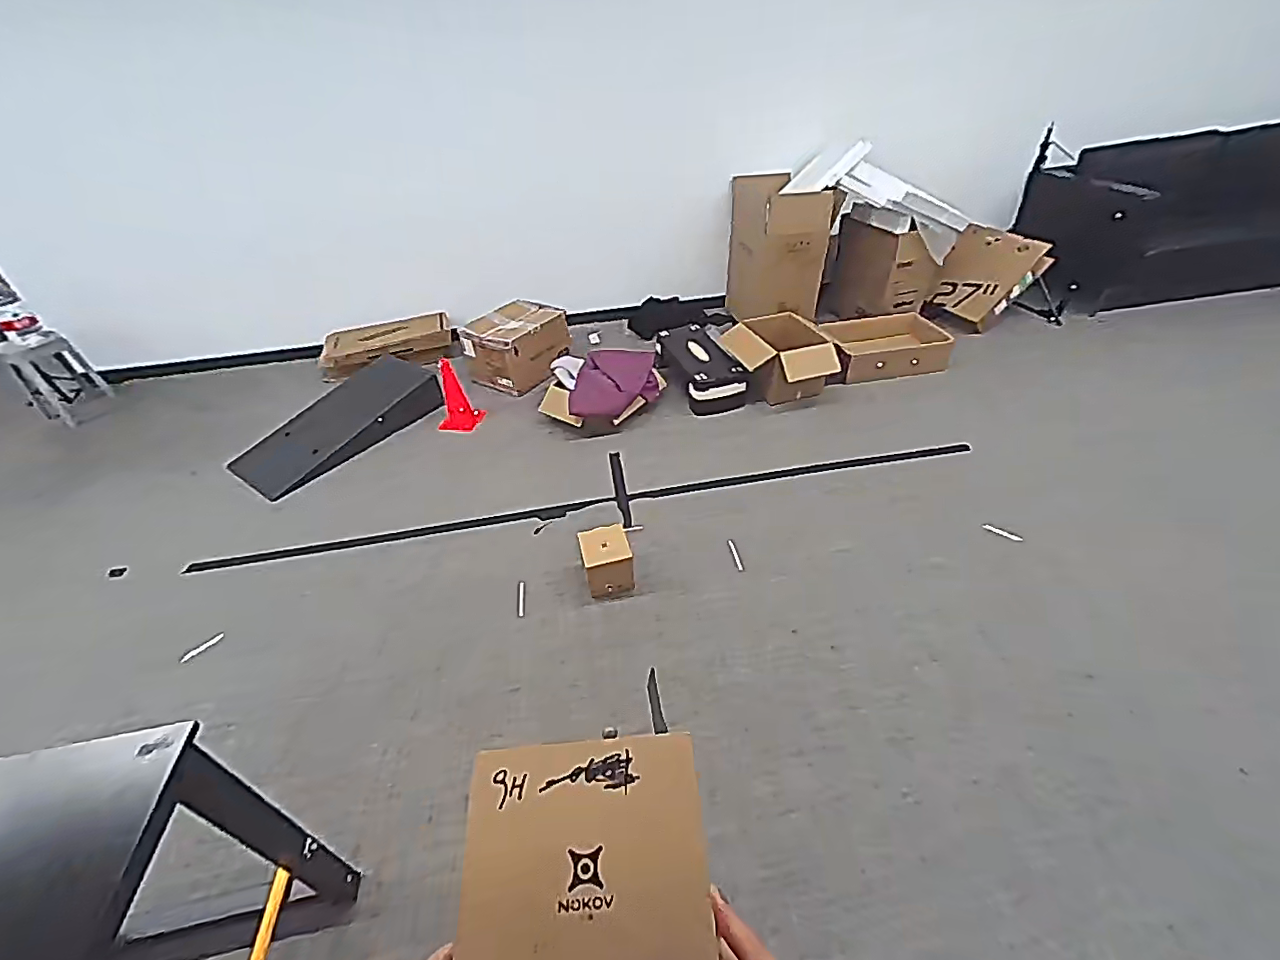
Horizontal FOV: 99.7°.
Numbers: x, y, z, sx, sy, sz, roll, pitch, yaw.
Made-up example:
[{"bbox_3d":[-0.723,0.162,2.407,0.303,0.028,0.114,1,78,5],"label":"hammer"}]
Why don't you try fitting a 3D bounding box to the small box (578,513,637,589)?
[{"bbox_3d":[-0.111,0.244,1.861,0.168,0.176,0.179,-14,42,-10],"label":"small box"}]
